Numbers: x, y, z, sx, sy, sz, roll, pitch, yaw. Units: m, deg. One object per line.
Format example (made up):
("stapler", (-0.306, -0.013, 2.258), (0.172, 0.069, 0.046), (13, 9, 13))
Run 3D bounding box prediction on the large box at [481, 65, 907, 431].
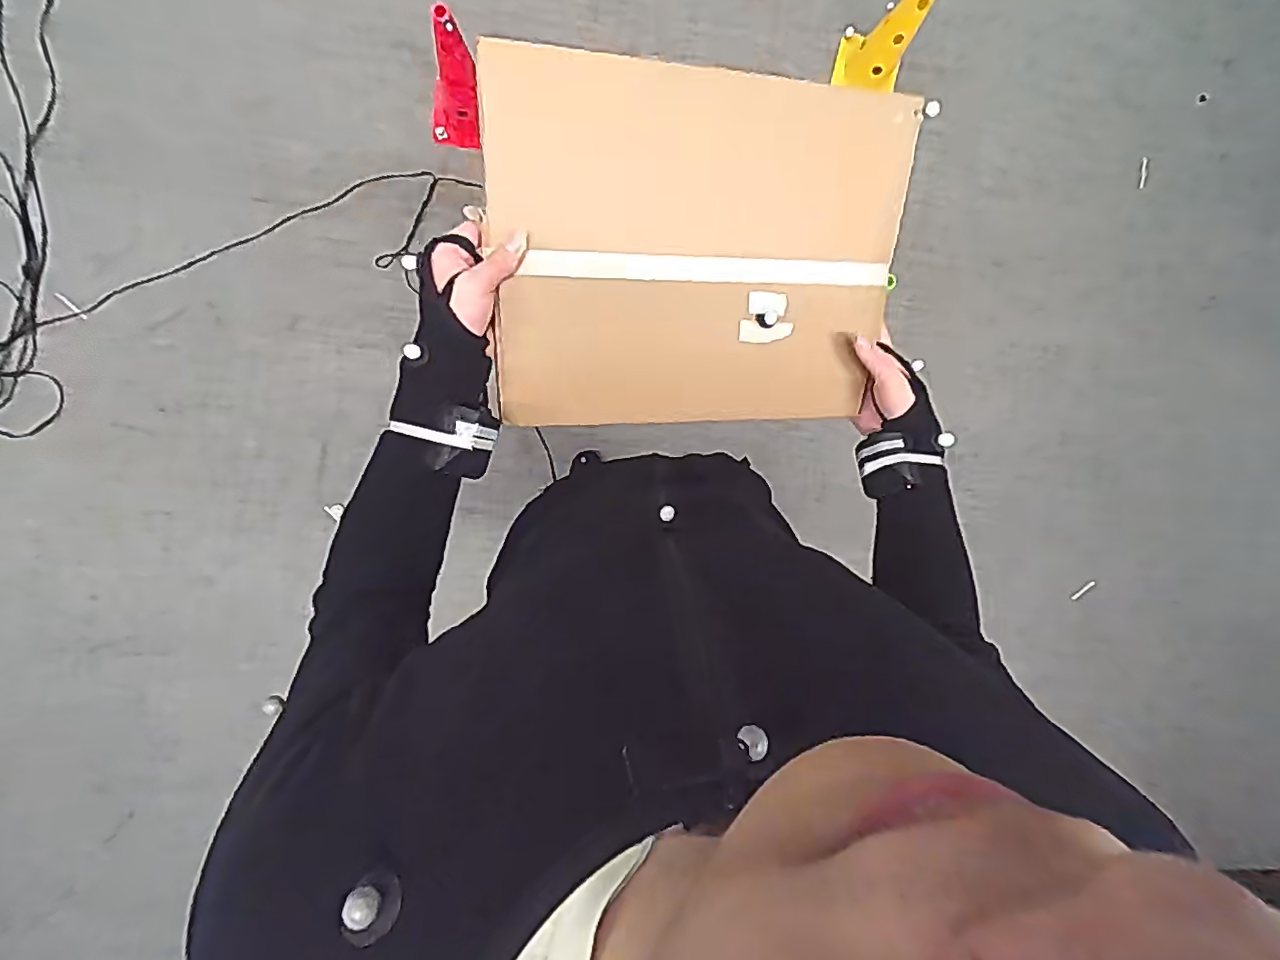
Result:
("large box", (0.026, -0.261, 0.667), (0.408, 0.320, 0.320), (-4, 115, -14))
